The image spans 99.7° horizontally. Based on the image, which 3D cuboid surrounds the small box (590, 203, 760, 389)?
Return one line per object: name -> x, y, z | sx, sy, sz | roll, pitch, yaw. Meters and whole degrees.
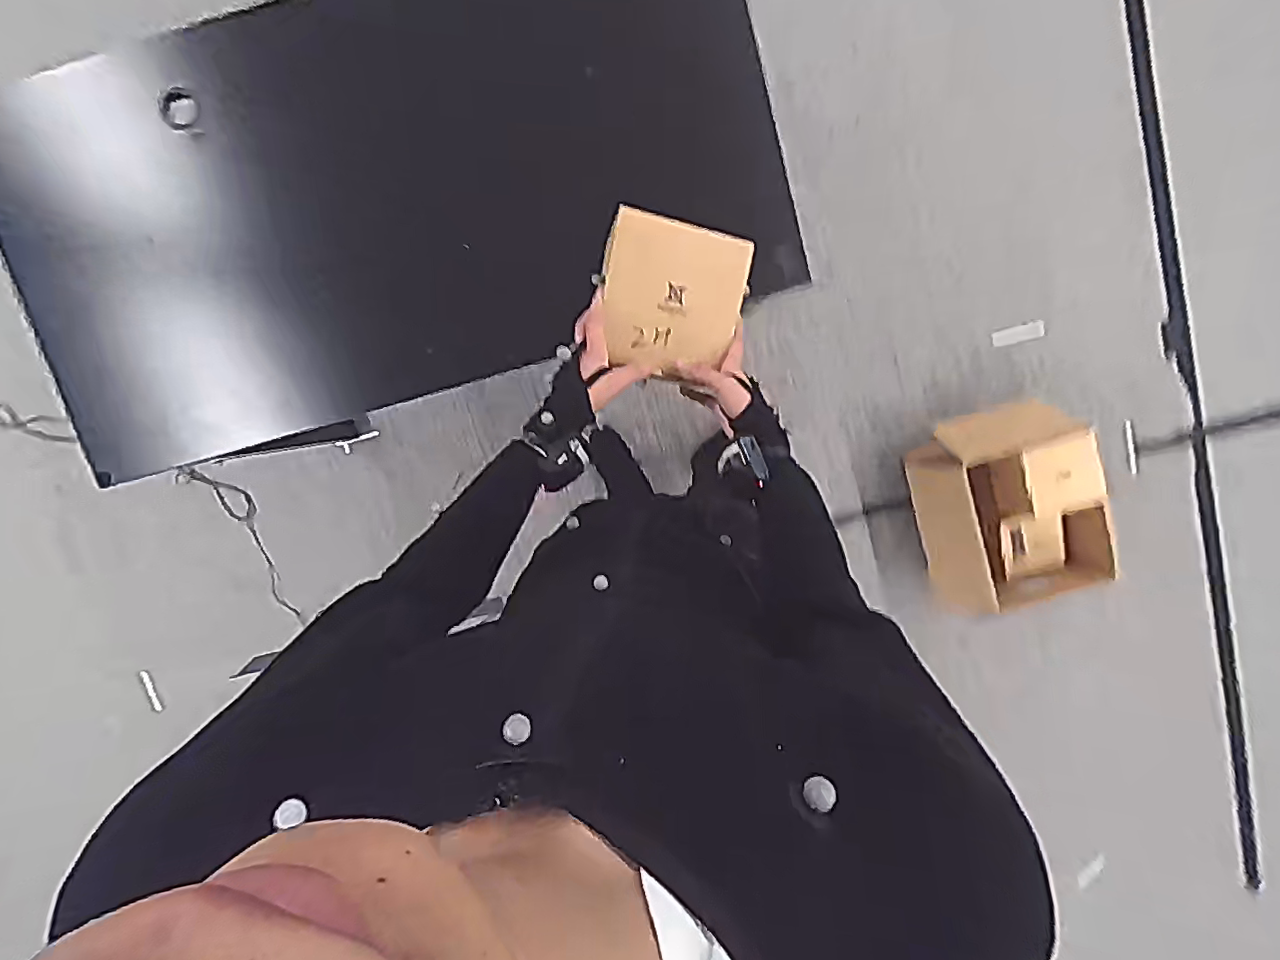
small box -> 0.032, -0.224, 0.706 | 0.168, 0.176, 0.179 | 12, 98, -10
